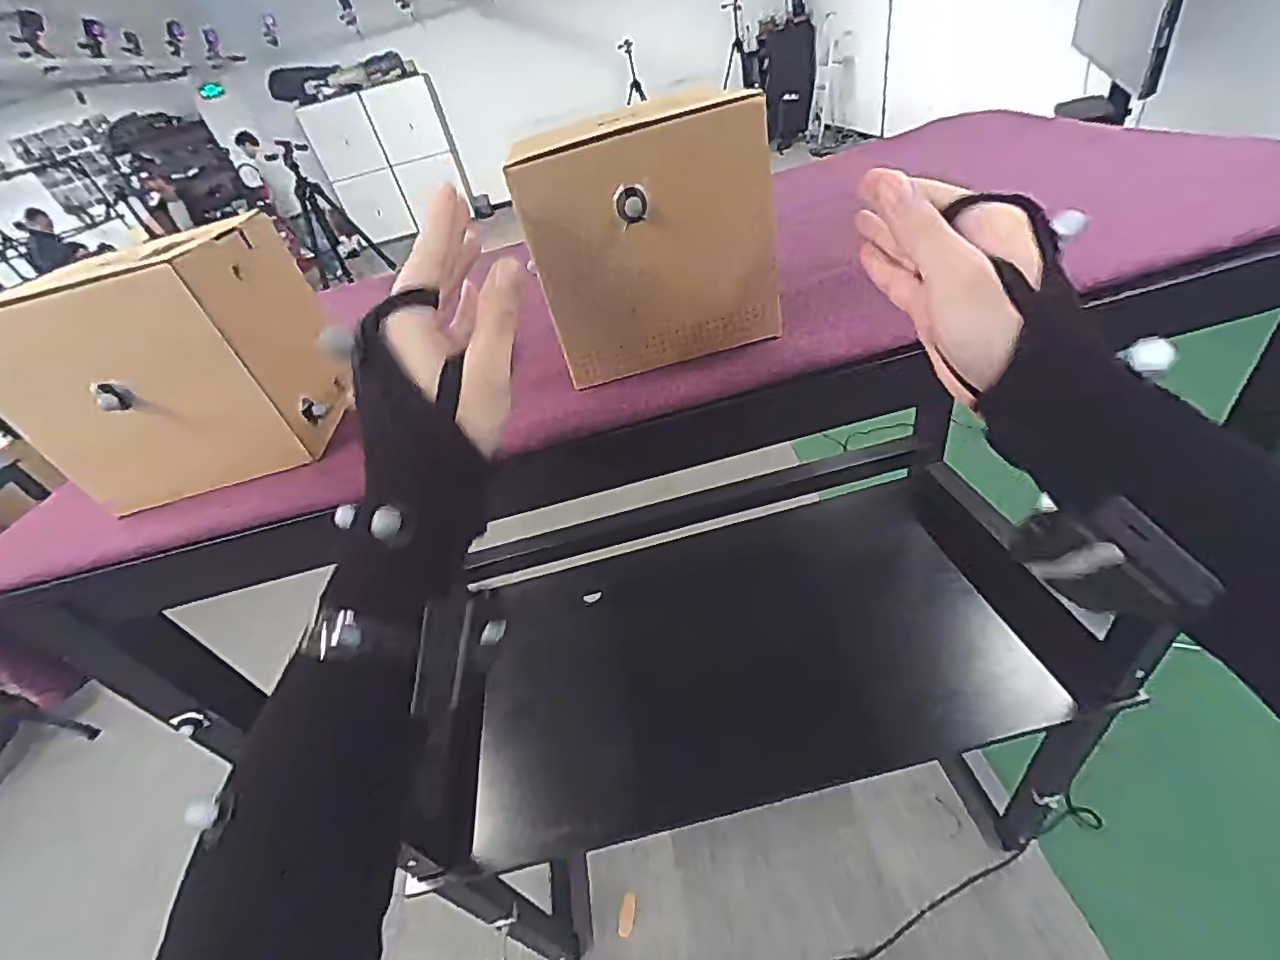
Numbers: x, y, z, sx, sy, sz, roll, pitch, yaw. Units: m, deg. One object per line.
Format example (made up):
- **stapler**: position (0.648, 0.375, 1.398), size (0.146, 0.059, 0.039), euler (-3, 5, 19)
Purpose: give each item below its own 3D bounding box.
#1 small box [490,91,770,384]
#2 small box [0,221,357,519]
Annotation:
- **small box**: position (-0.004, -0.202, 0.455), size (0.179, 0.176, 0.168), euler (-15, 38, 3)
- **small box**: position (-0.381, -0.094, 0.464), size (0.179, 0.176, 0.168), euler (-17, 38, 1)
